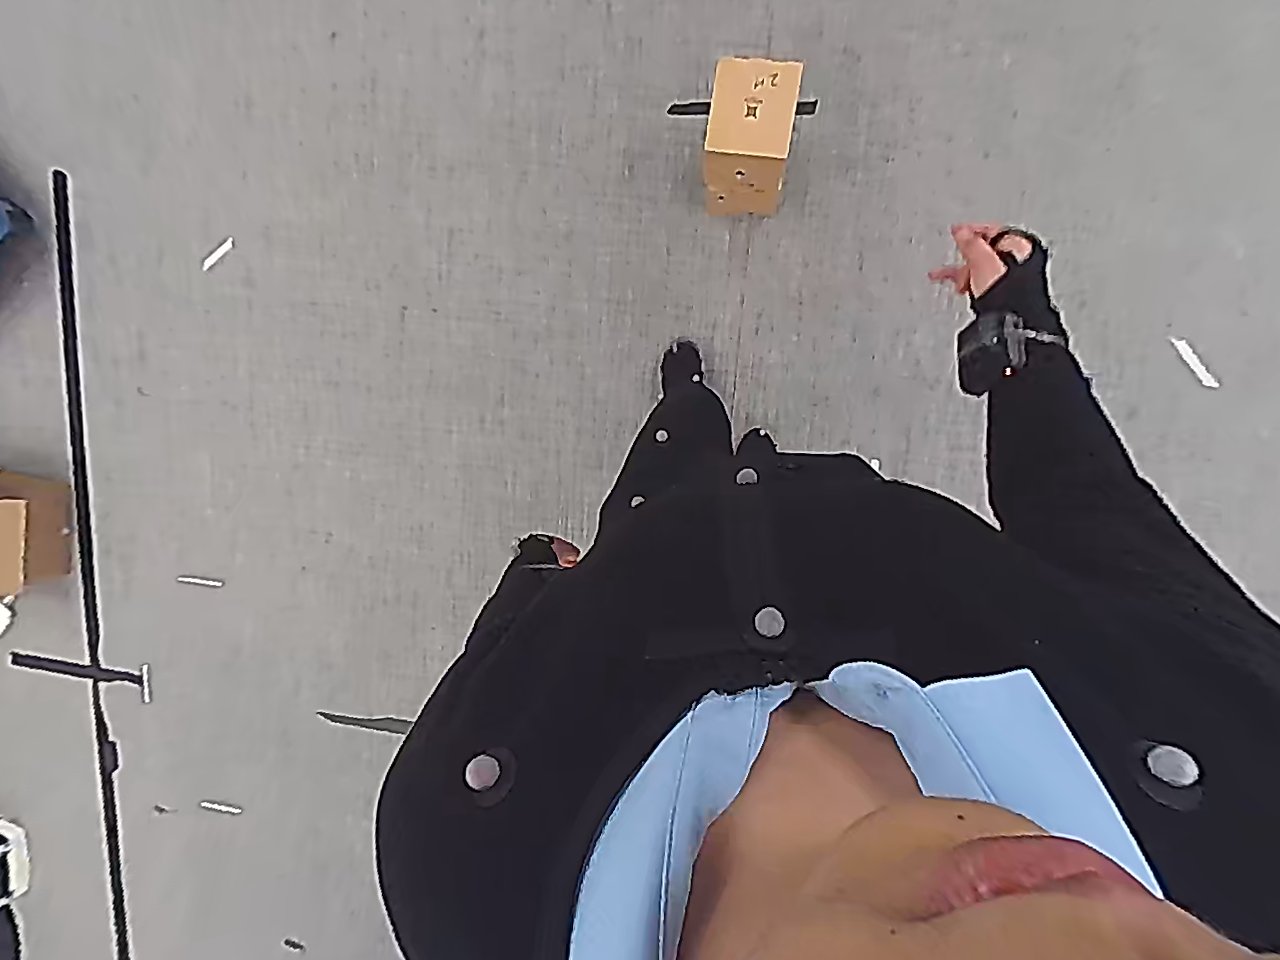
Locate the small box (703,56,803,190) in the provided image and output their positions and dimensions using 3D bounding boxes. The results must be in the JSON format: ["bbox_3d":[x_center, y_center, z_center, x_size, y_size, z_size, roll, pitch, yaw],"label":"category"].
[{"bbox_3d":[0.229,-0.730,1.125,0.168,0.176,0.179,10,98,6],"label":"small box"}]
